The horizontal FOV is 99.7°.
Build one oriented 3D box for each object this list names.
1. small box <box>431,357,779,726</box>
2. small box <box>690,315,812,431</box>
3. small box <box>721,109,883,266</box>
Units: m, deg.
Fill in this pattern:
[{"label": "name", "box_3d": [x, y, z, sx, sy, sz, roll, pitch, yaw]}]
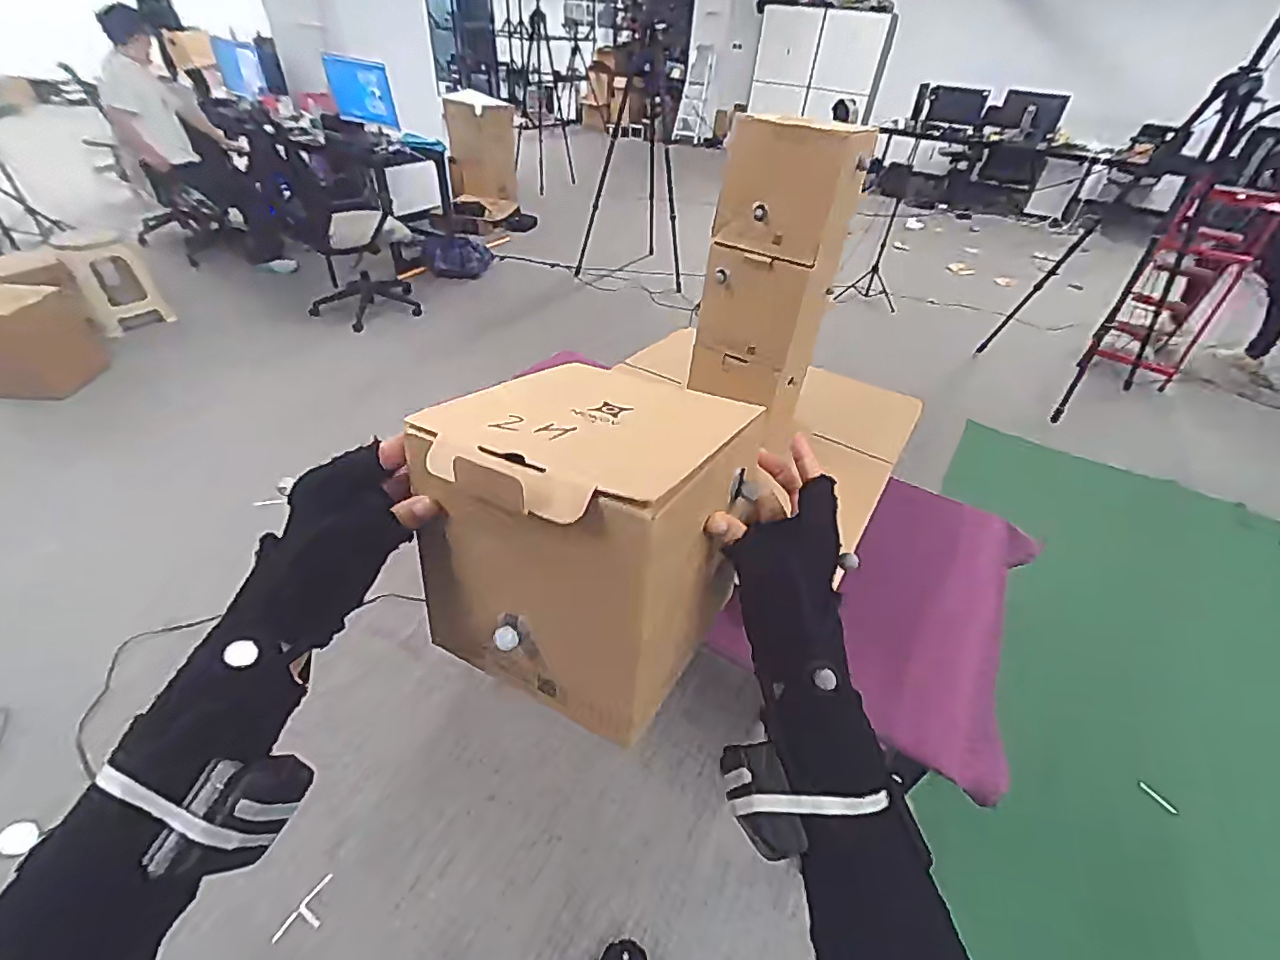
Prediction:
[{"label": "small box", "box_3d": [-0.019, 0.026, 0.382, 0.168, 0.176, 0.179, 17, 30, 24]}, {"label": "small box", "box_3d": [0.199, -0.182, 1.011, 0.168, 0.176, 0.179, 24, 43, 20]}, {"label": "small box", "box_3d": [0.237, -0.440, 0.811, 0.168, 0.176, 0.179, 25, 41, 21]}]
